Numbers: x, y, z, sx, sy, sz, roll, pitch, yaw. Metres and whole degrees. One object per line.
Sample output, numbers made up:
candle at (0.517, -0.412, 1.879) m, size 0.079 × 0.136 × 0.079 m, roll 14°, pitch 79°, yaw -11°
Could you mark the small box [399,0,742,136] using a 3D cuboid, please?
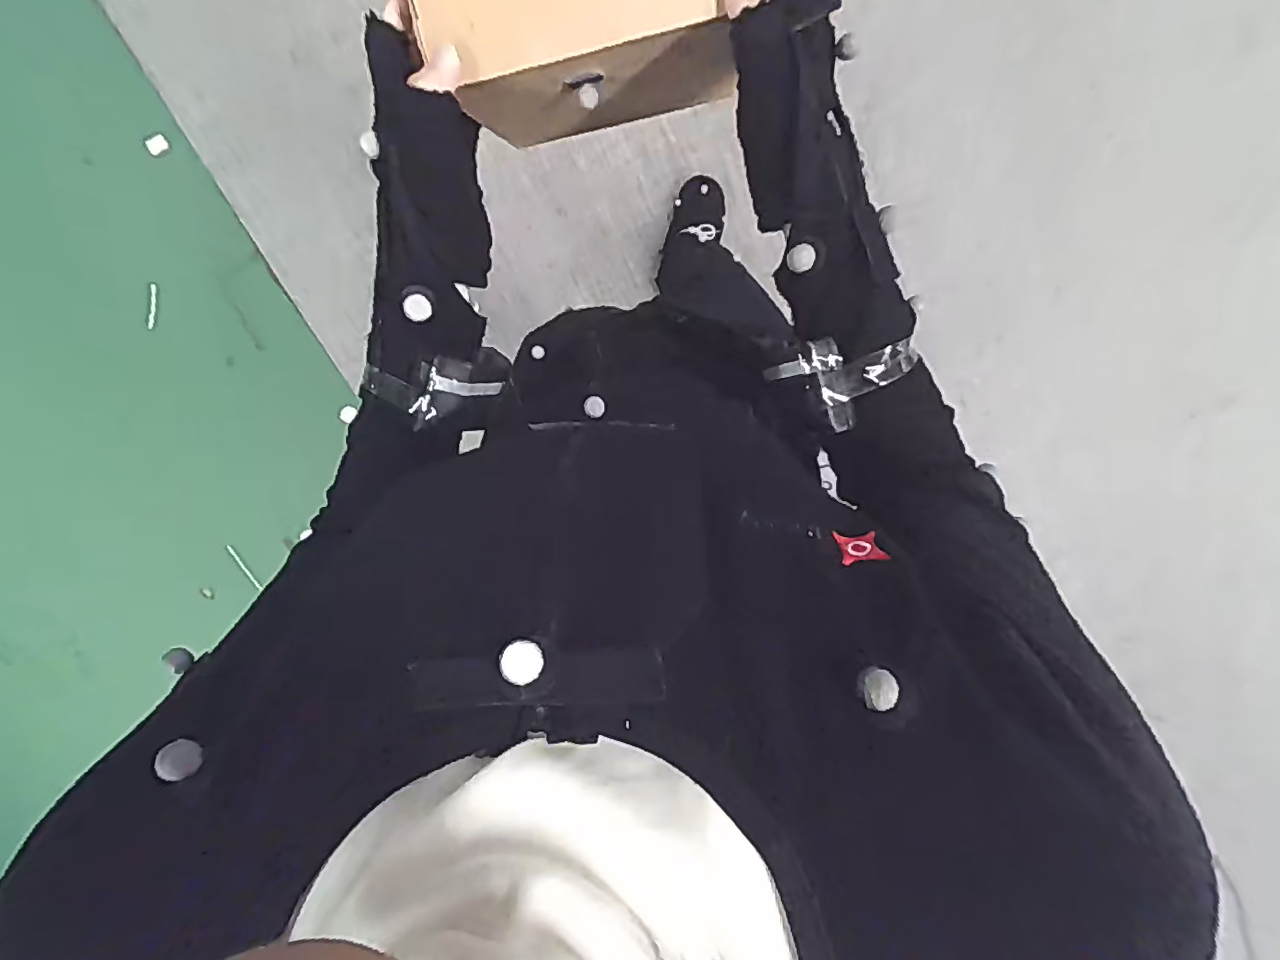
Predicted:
small box at (-0.036, -0.322, 0.313) m, size 0.179 × 0.176 × 0.168 m, roll -8°, pitch 112°, yaw 8°
